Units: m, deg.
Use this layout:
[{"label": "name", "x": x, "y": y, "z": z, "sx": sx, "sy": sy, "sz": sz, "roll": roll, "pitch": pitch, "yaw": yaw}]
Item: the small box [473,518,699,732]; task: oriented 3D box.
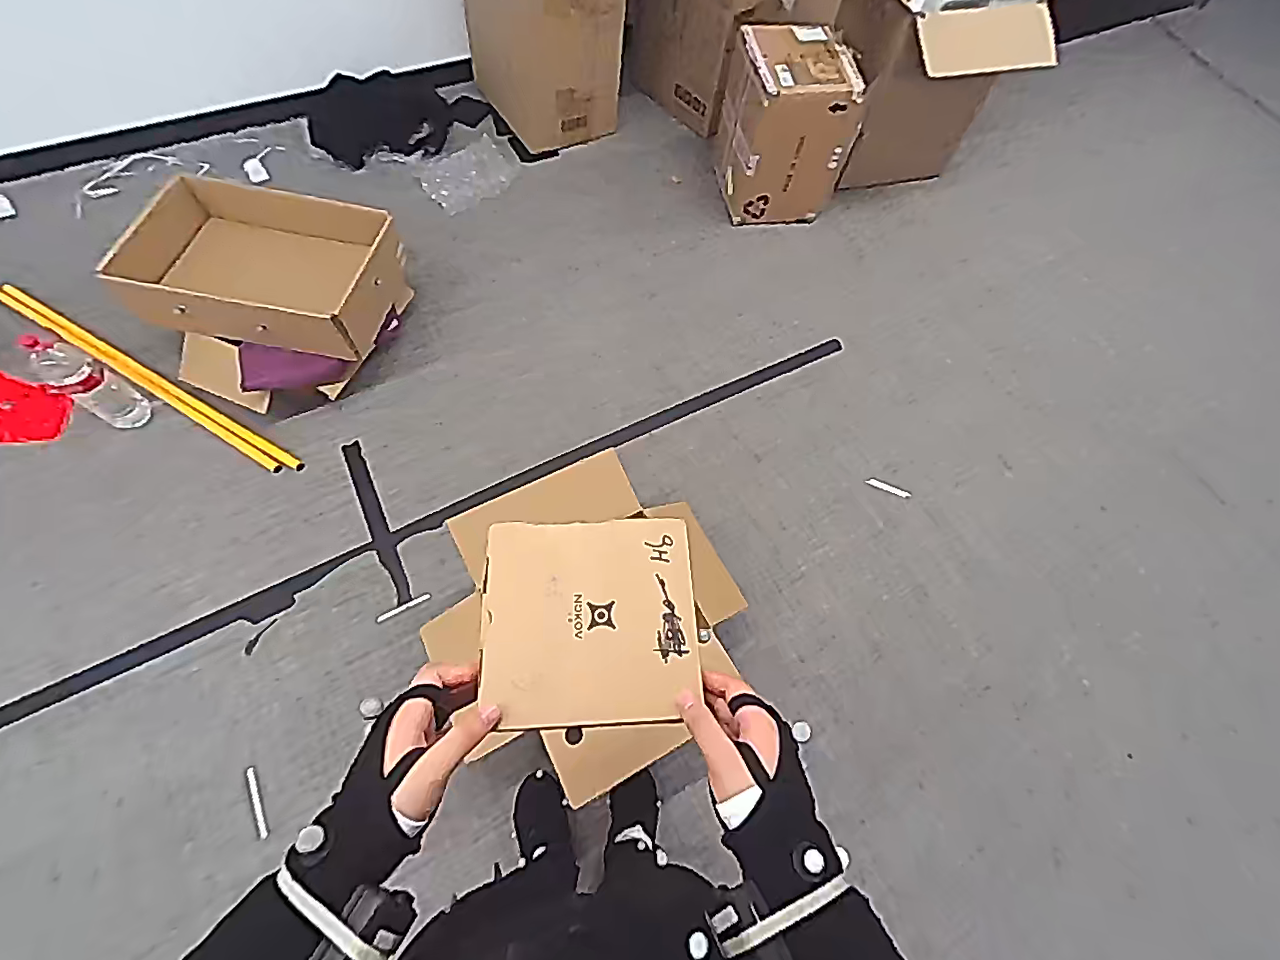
[{"label": "small box", "x": -0.048, "y": 0.145, "z": 0.517, "sx": 0.179, "sy": 0.176, "sz": 0.168, "roll": -2, "pitch": 65, "yaw": -5}]
